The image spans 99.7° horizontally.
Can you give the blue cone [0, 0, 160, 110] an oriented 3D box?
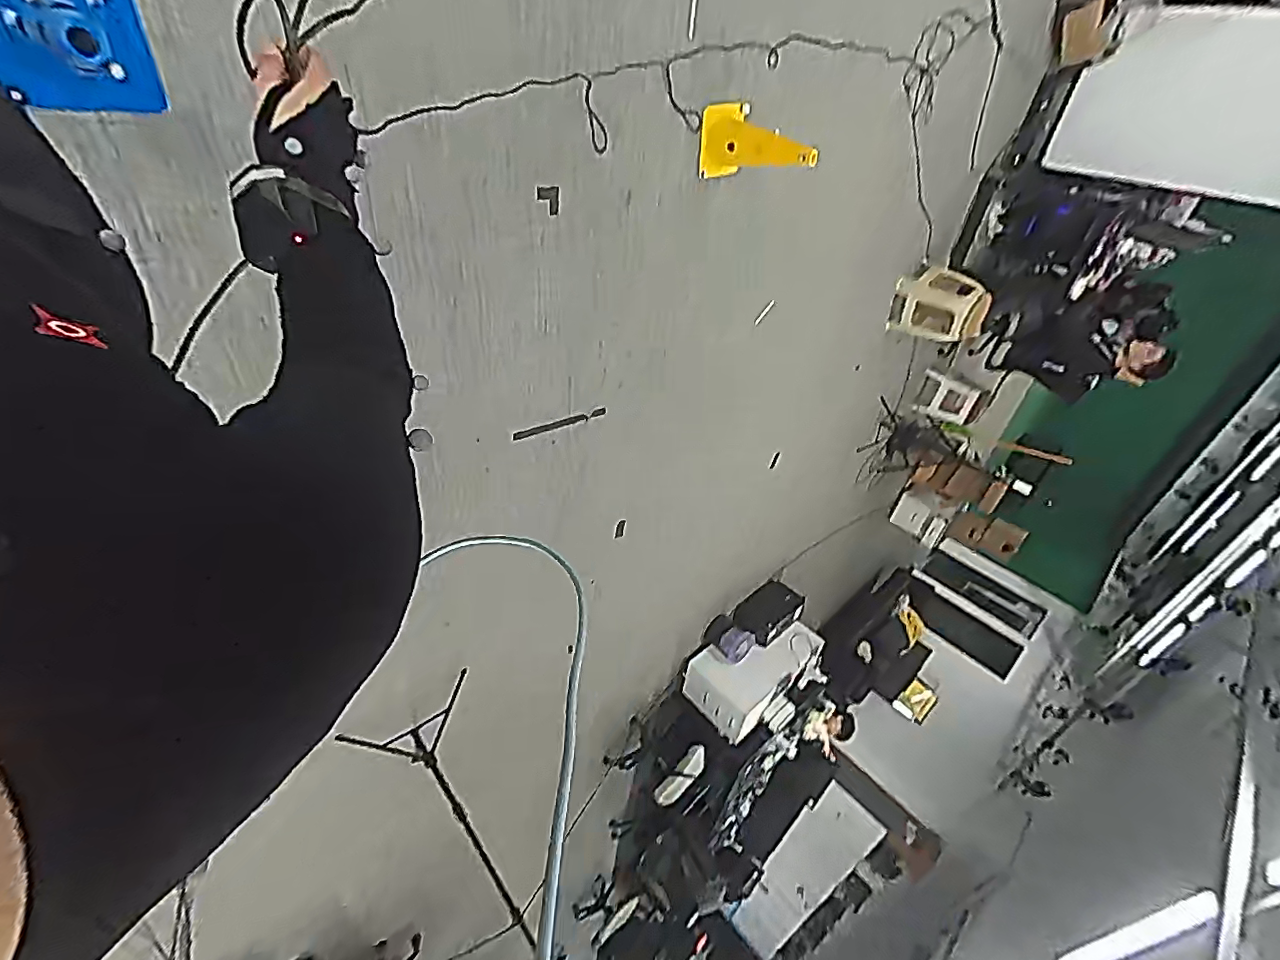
[{"bbox_3d":[-0.745,-0.578,0.706,0.193,0.380,0.192,-24,138,-37],"label":"blue cone"}]
